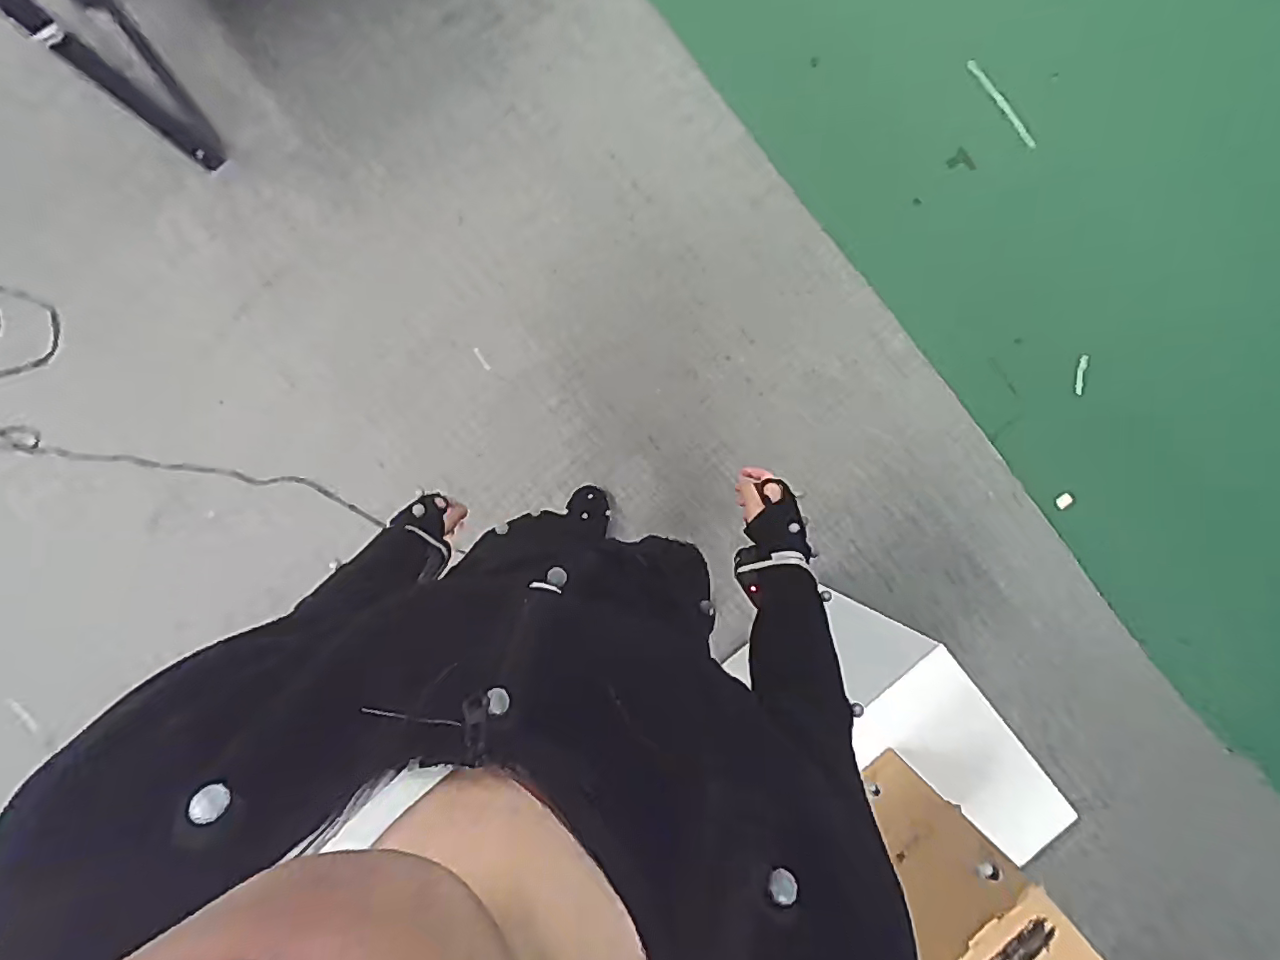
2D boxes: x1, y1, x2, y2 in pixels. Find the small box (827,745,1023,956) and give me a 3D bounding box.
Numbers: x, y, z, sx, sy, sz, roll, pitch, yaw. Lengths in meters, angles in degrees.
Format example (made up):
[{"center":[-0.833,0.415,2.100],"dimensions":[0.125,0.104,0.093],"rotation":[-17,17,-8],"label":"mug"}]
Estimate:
[{"center":[0.433,0.565,0.851],"dimensions":[0.168,0.176,0.179],"rotation":[-39,92,-2],"label":"small box"}]
